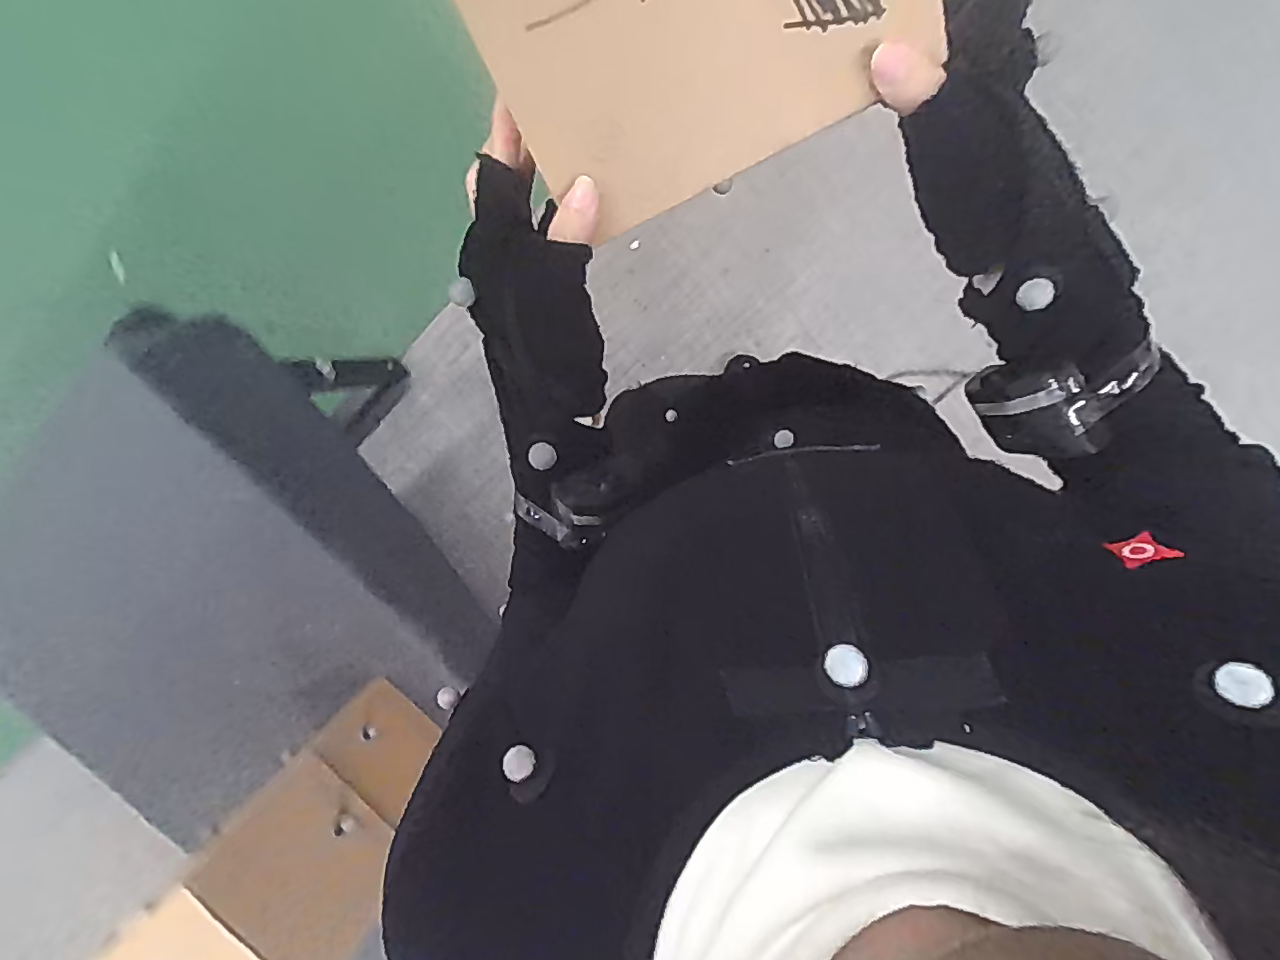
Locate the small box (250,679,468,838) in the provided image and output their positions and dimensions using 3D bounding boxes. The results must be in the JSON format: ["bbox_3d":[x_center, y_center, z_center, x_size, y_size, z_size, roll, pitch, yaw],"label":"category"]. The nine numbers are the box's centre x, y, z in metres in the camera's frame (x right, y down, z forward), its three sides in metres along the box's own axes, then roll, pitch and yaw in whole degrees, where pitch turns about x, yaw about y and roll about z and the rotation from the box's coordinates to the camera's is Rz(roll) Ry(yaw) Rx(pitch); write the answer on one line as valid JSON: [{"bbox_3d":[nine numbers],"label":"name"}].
[{"bbox_3d":[-0.378,0.407,0.749,0.179,0.176,0.168,44,105,-7],"label":"small box"}]

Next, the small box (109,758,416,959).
[{"bbox_3d":[-0.390,0.441,0.589,0.168,0.176,0.179,-41,95,15],"label":"small box"}]
